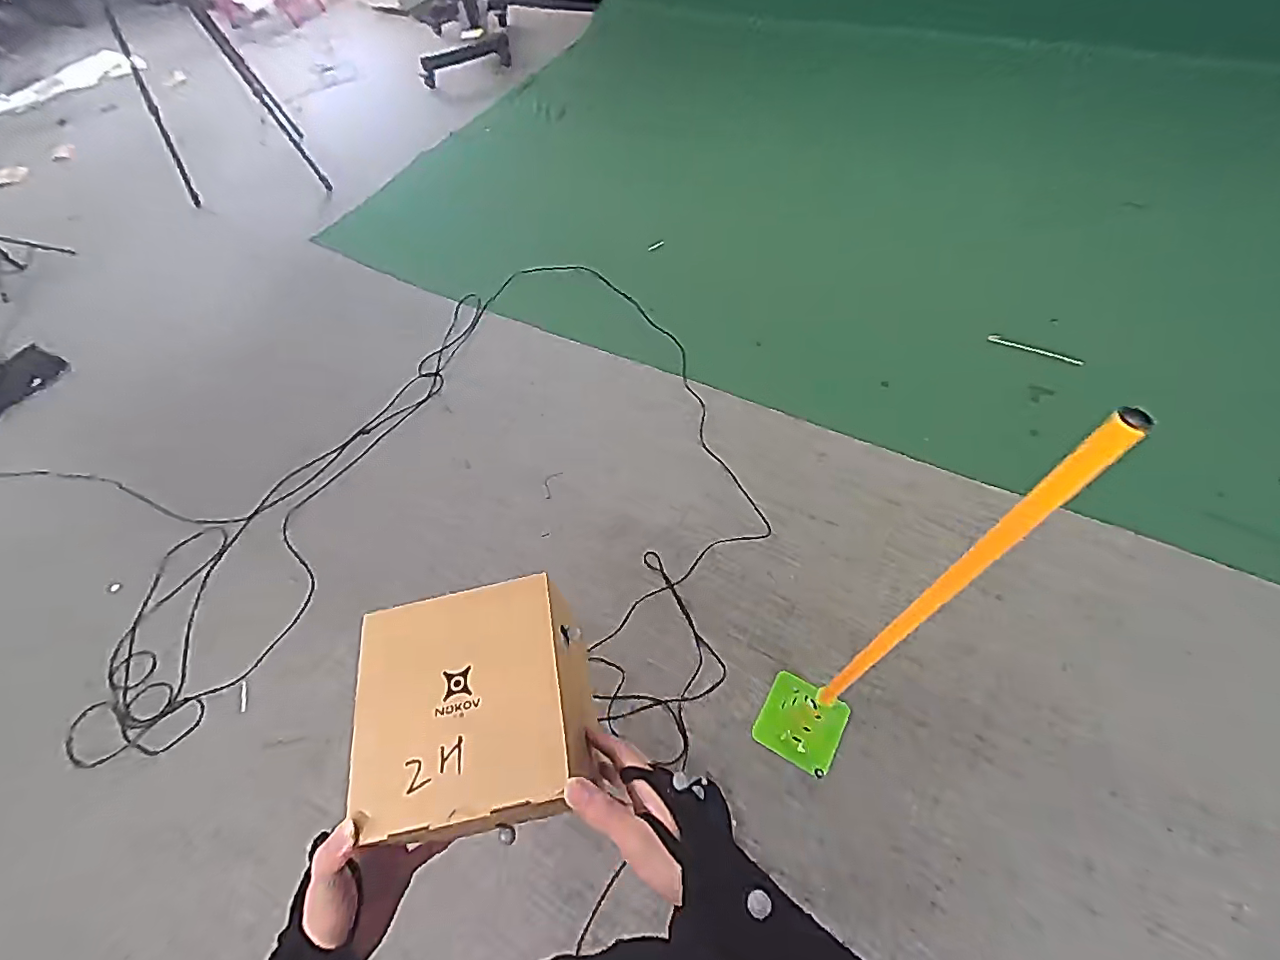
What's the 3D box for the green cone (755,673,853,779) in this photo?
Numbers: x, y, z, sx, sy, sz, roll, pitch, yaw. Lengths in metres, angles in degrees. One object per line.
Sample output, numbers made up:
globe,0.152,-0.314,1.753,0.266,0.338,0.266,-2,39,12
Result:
green cone,0.399,0.529,1.241,0.202,0.368,0.200,24,63,22
